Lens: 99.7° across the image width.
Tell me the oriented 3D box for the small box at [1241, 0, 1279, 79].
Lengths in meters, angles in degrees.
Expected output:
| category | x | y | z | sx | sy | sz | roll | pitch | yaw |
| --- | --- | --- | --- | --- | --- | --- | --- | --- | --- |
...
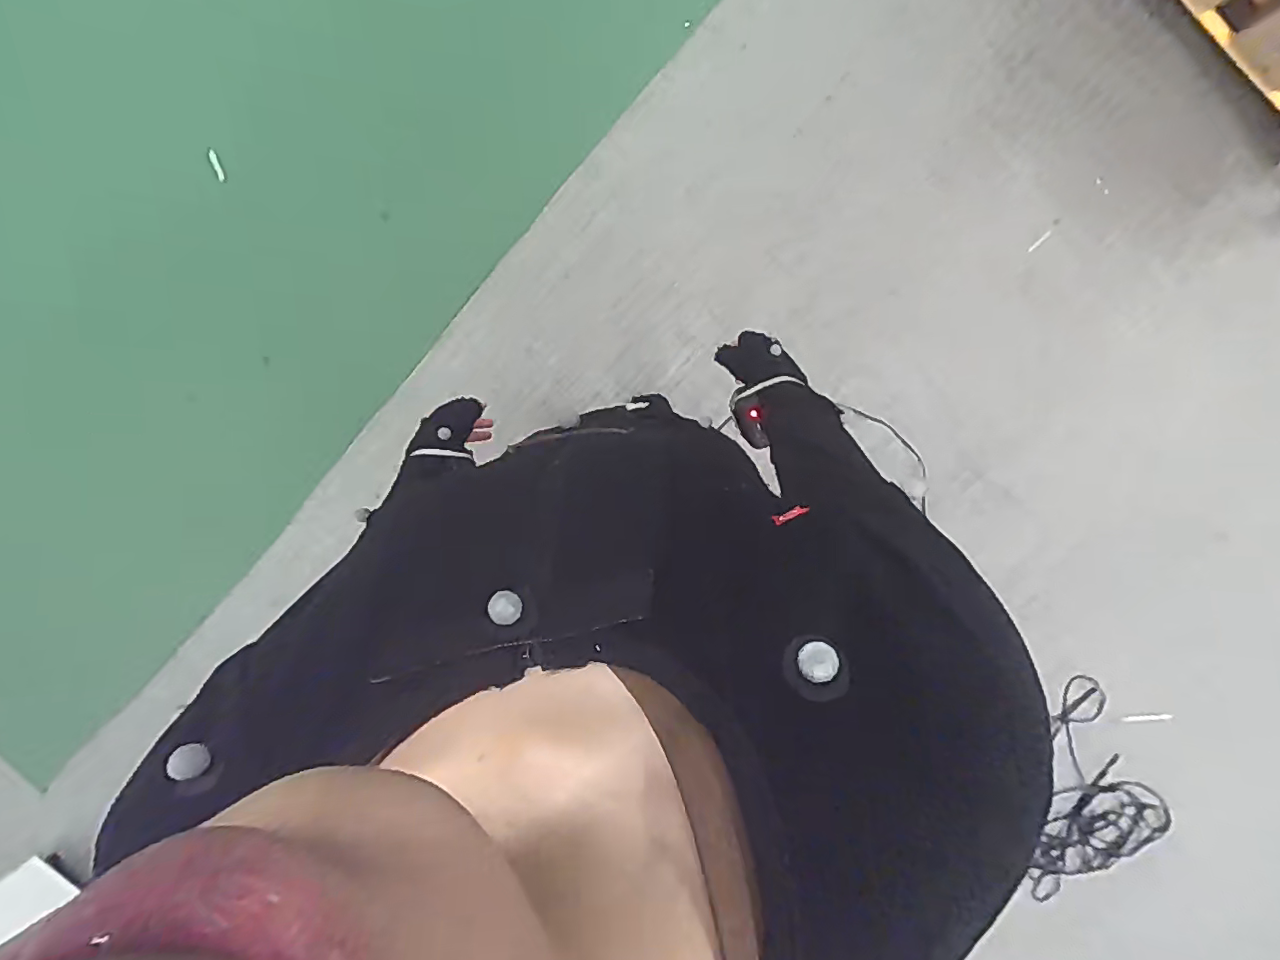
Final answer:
| category | x | y | z | sx | sy | sz | roll | pitch | yaw |
| --- | --- | --- | --- | --- | --- | --- | --- | --- | --- |
| small box | 1.451 | -1.010 | 1.140 | 0.168 | 0.176 | 0.179 | 41 | 97 | -5 |
